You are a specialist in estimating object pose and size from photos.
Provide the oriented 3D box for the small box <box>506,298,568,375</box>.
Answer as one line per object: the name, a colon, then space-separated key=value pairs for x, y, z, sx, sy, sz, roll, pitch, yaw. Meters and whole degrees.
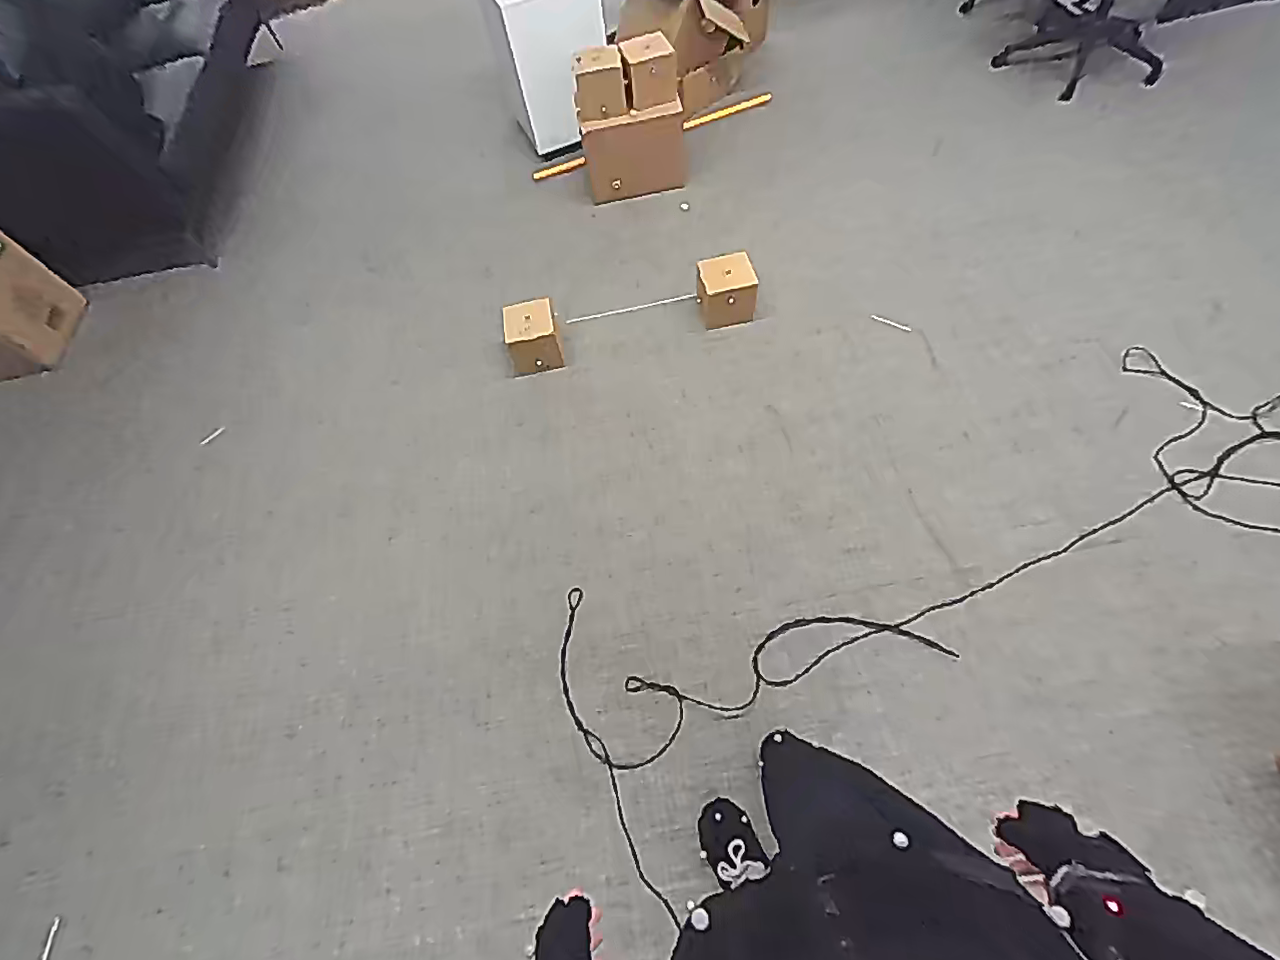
small box: x=-0.354 y=-0.492 z=1.869 sx=0.168 sy=0.176 sz=0.179 roll=-13 pitch=61 yaw=1

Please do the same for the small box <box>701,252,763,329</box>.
small box: x=0.312 y=-0.653 z=1.873 sx=0.179 sy=0.176 sz=0.168 roll=-13 pitch=61 yaw=1
